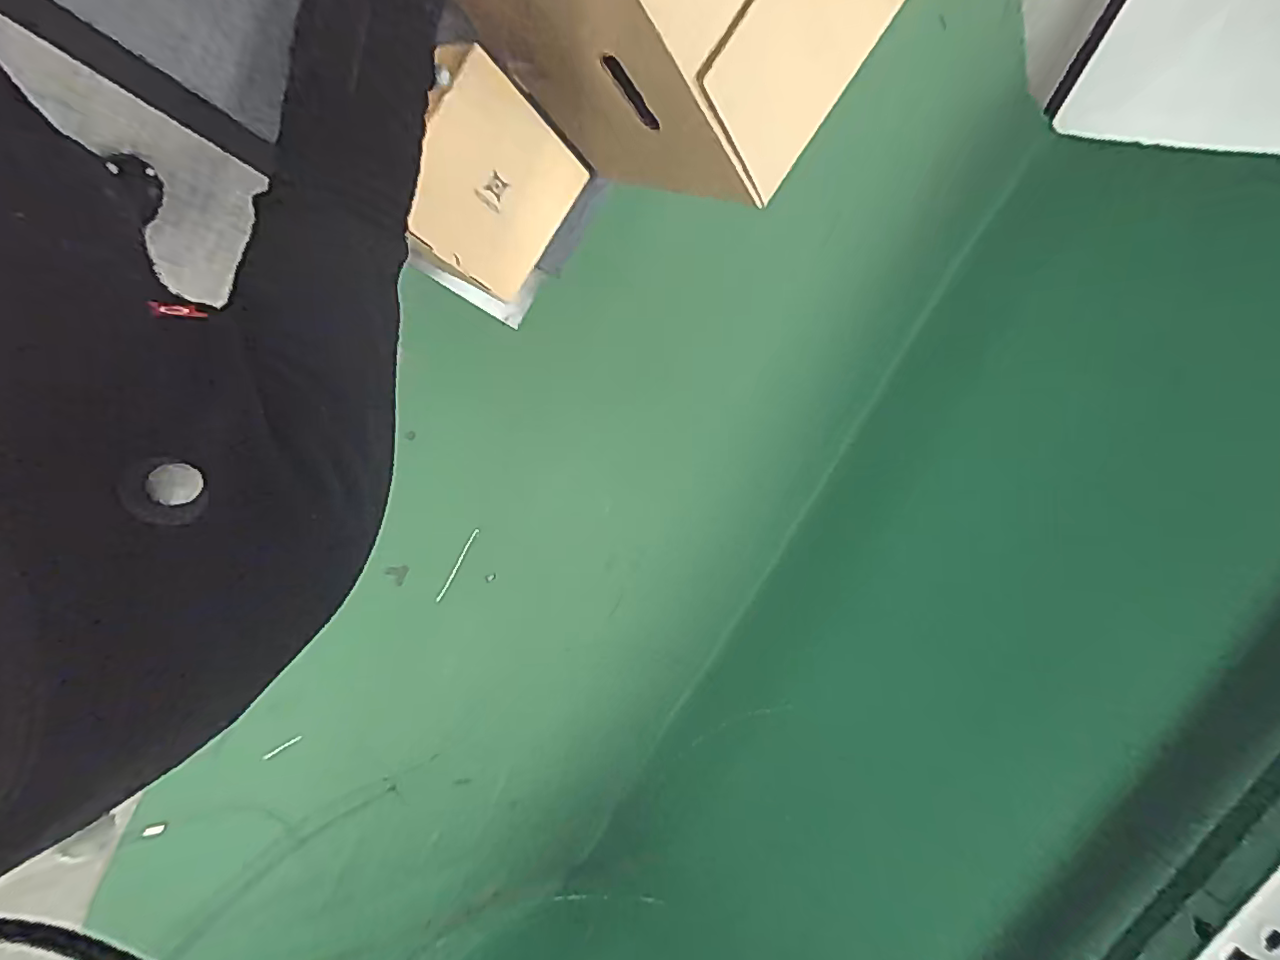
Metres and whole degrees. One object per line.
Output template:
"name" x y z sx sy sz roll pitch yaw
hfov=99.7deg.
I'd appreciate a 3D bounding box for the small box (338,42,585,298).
"small box" -0.202 -0.343 0.603 0.179 0.176 0.168 -55 143 5
